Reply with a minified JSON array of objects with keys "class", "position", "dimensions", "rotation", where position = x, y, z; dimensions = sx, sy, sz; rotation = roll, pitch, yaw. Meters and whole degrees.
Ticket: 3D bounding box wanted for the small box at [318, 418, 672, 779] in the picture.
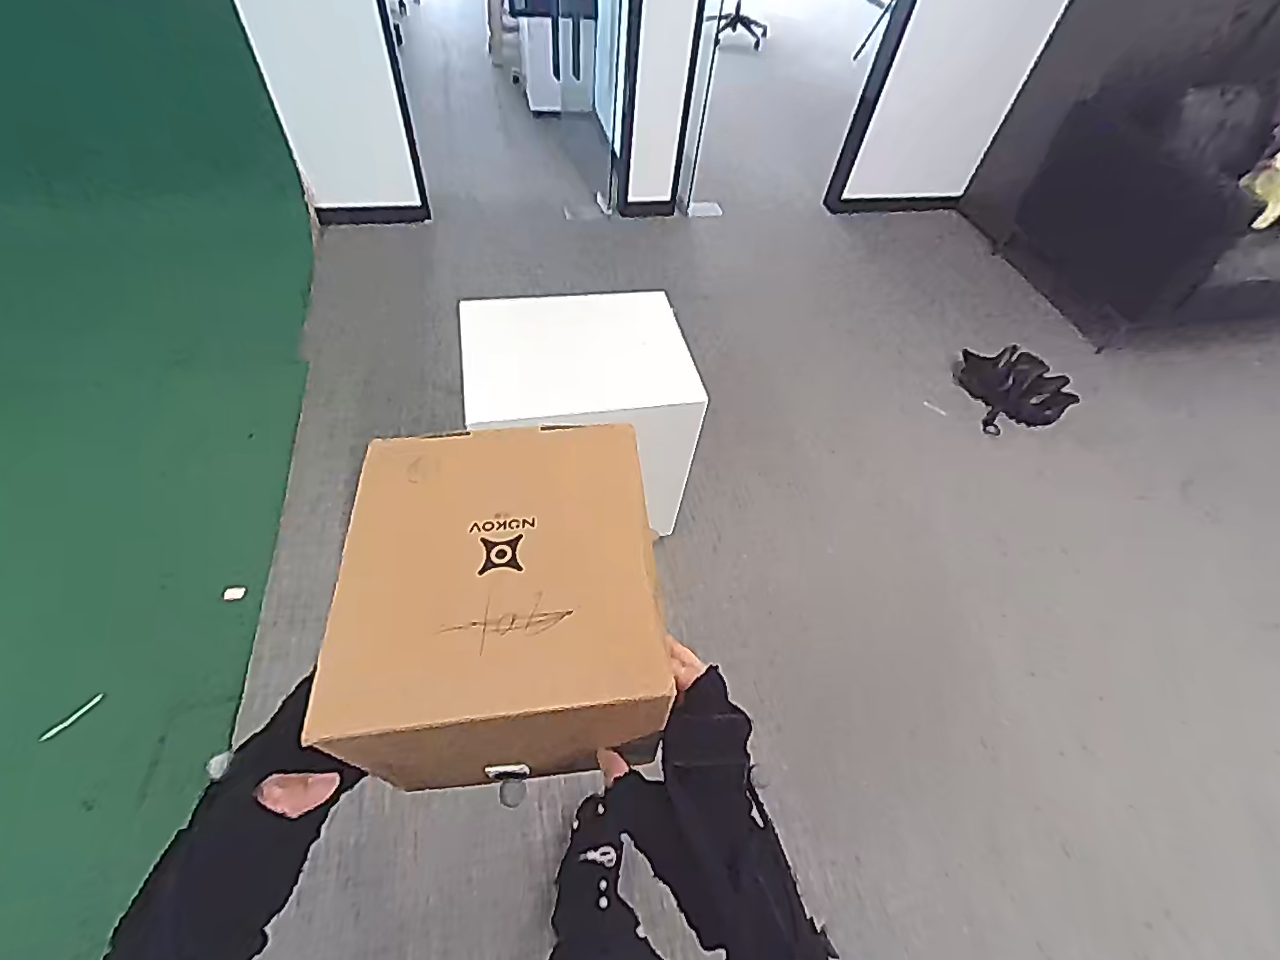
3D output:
[{"class":"small box","position":[-0.077,0.082,0.364],"dimensions":[0.168,0.176,0.179],"rotation":[-5,54,-5]}]
